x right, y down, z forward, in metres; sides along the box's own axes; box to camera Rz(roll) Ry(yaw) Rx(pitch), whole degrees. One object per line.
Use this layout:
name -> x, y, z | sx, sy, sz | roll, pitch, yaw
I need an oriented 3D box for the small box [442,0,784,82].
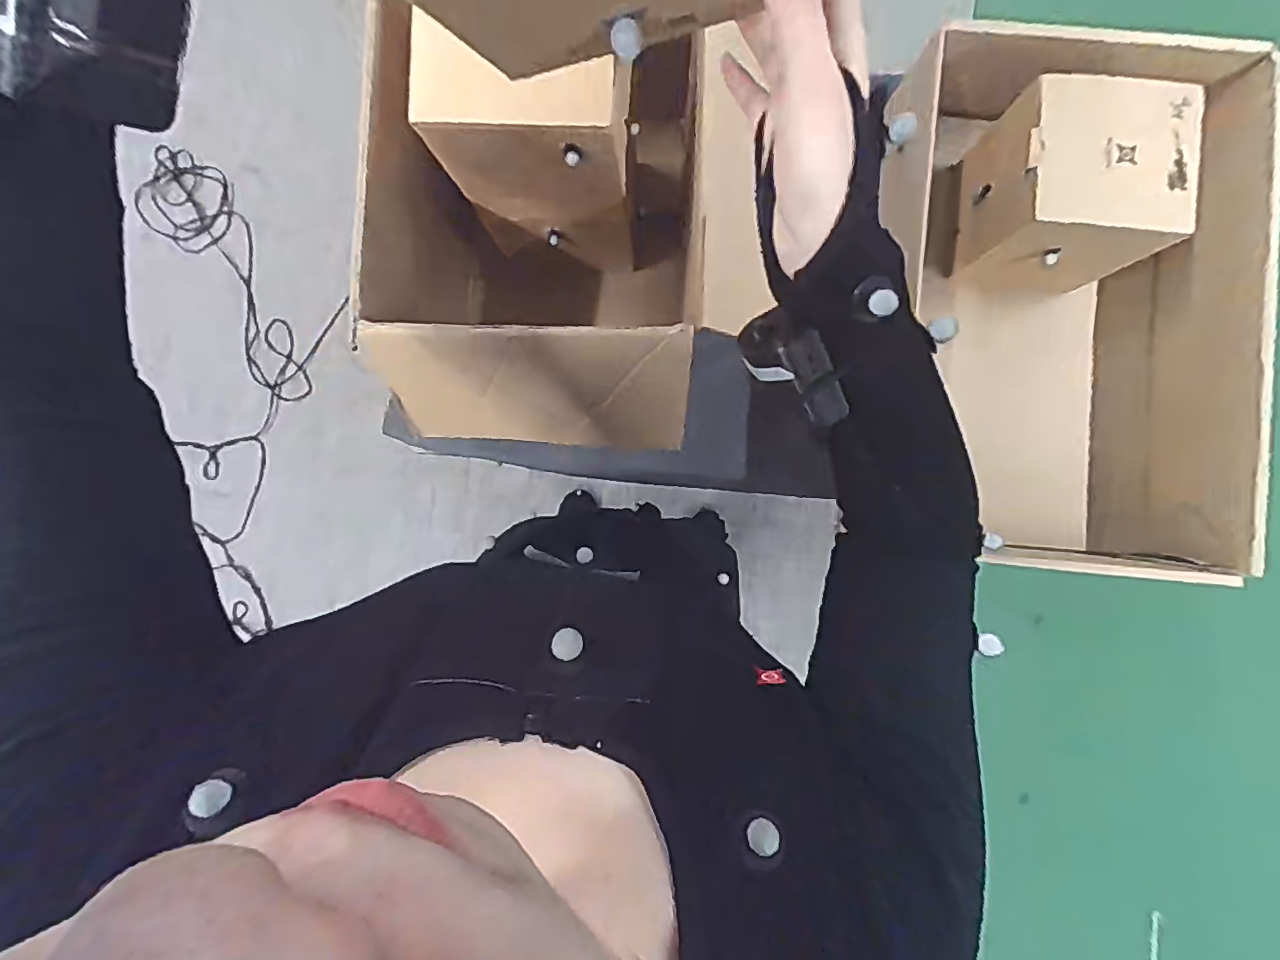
small box -> -0.022, -0.290, 0.204 | 0.168, 0.176, 0.179 | -7, 114, 11
